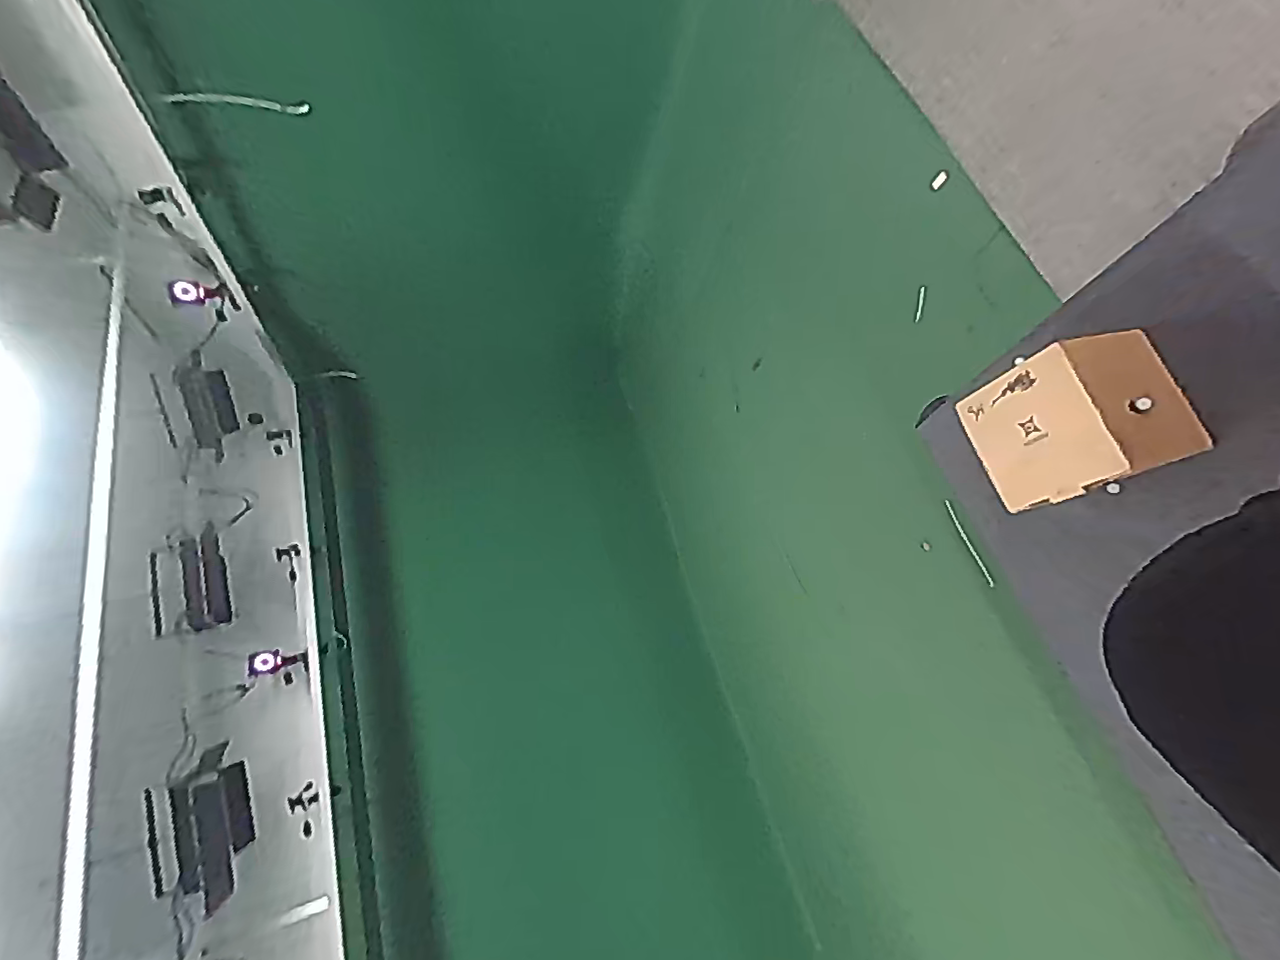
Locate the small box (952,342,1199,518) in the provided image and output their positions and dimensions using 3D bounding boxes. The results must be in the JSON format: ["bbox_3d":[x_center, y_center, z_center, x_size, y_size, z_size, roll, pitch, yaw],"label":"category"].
[{"bbox_3d":[0.584,-0.068,0.736,0.168,0.176,0.179,127,129,-64],"label":"small box"}]
